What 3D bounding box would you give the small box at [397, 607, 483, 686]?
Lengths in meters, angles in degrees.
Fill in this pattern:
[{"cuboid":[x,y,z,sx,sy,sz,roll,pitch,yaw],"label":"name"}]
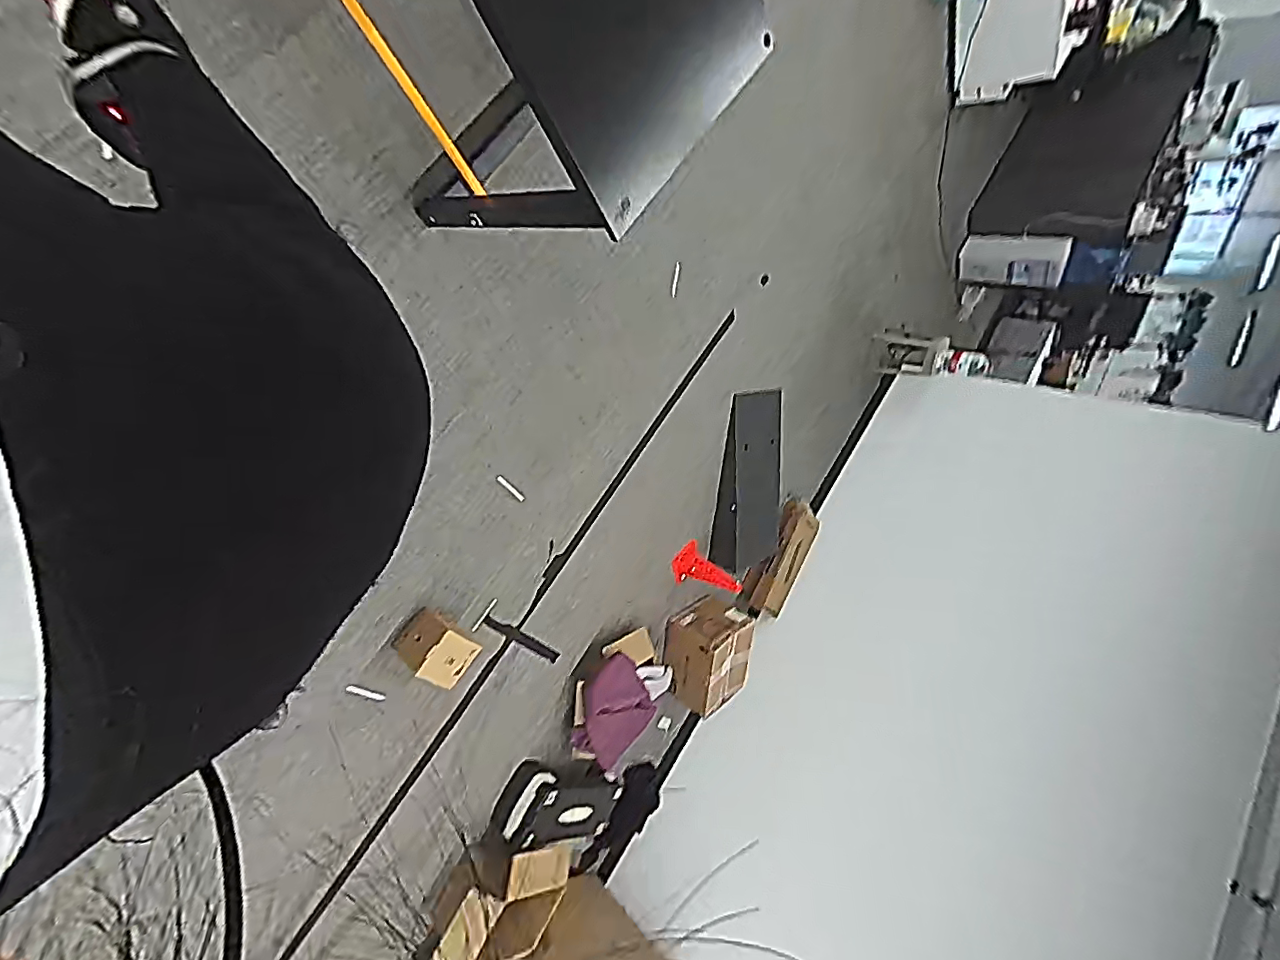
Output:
[{"cuboid":[-0.666,0.546,1.794,0.168,0.176,0.179,-54,139,-16],"label":"small box"}]
